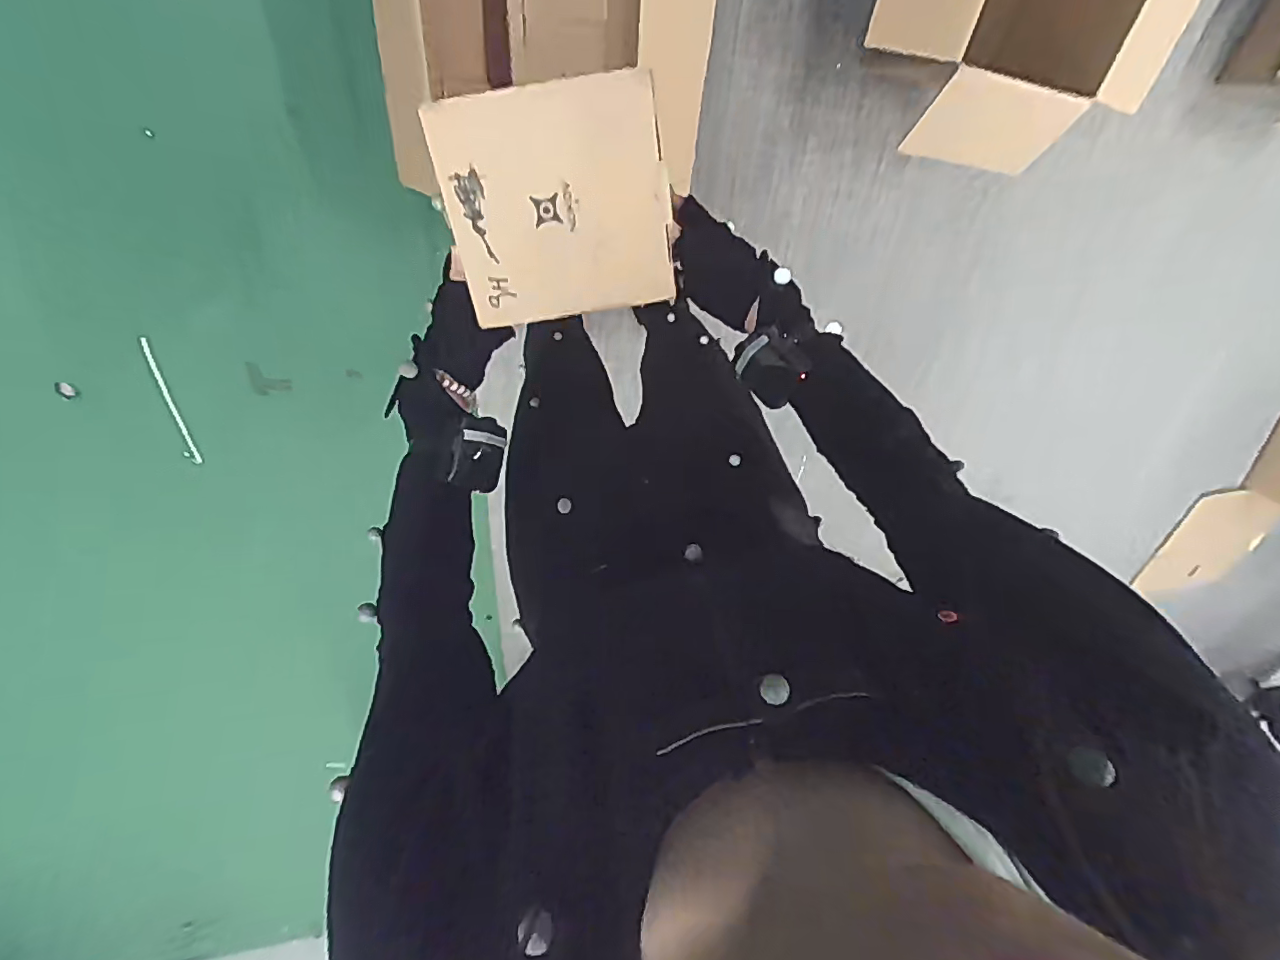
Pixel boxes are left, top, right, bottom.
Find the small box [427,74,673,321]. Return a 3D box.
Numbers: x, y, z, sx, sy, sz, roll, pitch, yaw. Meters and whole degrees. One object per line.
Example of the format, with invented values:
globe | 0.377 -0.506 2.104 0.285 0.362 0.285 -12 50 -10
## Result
small box | -0.073 -0.260 0.508 0.179 0.176 0.168 -9 119 -1
